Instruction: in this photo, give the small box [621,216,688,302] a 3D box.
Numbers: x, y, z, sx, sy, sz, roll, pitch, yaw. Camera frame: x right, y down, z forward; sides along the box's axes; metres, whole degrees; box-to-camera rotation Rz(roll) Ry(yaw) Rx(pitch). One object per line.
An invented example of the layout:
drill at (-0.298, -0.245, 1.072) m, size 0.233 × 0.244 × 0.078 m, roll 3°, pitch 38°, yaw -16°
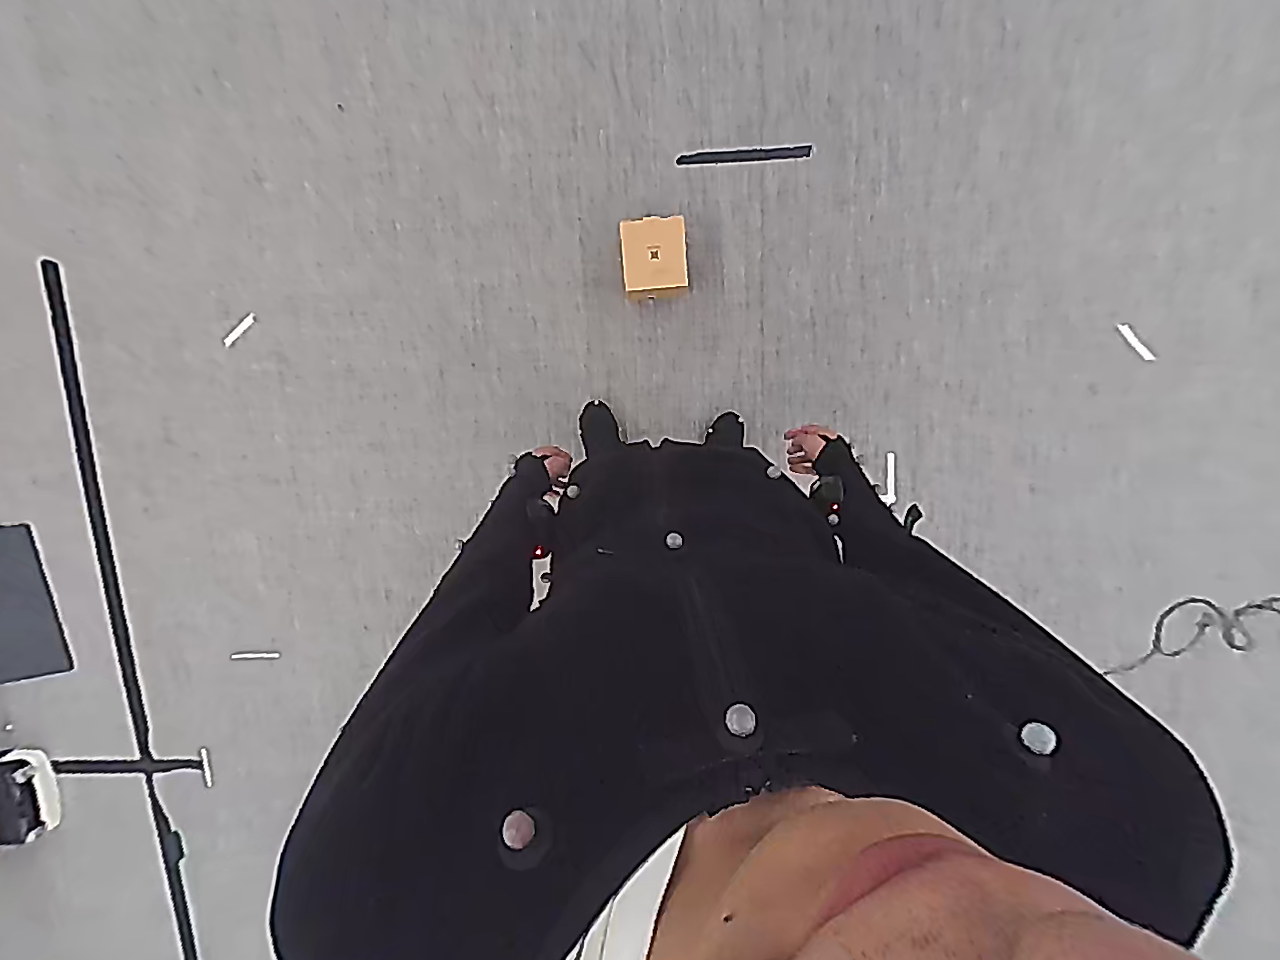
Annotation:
small box at (0.038, -0.591, 1.463) m, size 0.168 × 0.176 × 0.179 m, roll -4°, pitch 99°, yaw 2°
